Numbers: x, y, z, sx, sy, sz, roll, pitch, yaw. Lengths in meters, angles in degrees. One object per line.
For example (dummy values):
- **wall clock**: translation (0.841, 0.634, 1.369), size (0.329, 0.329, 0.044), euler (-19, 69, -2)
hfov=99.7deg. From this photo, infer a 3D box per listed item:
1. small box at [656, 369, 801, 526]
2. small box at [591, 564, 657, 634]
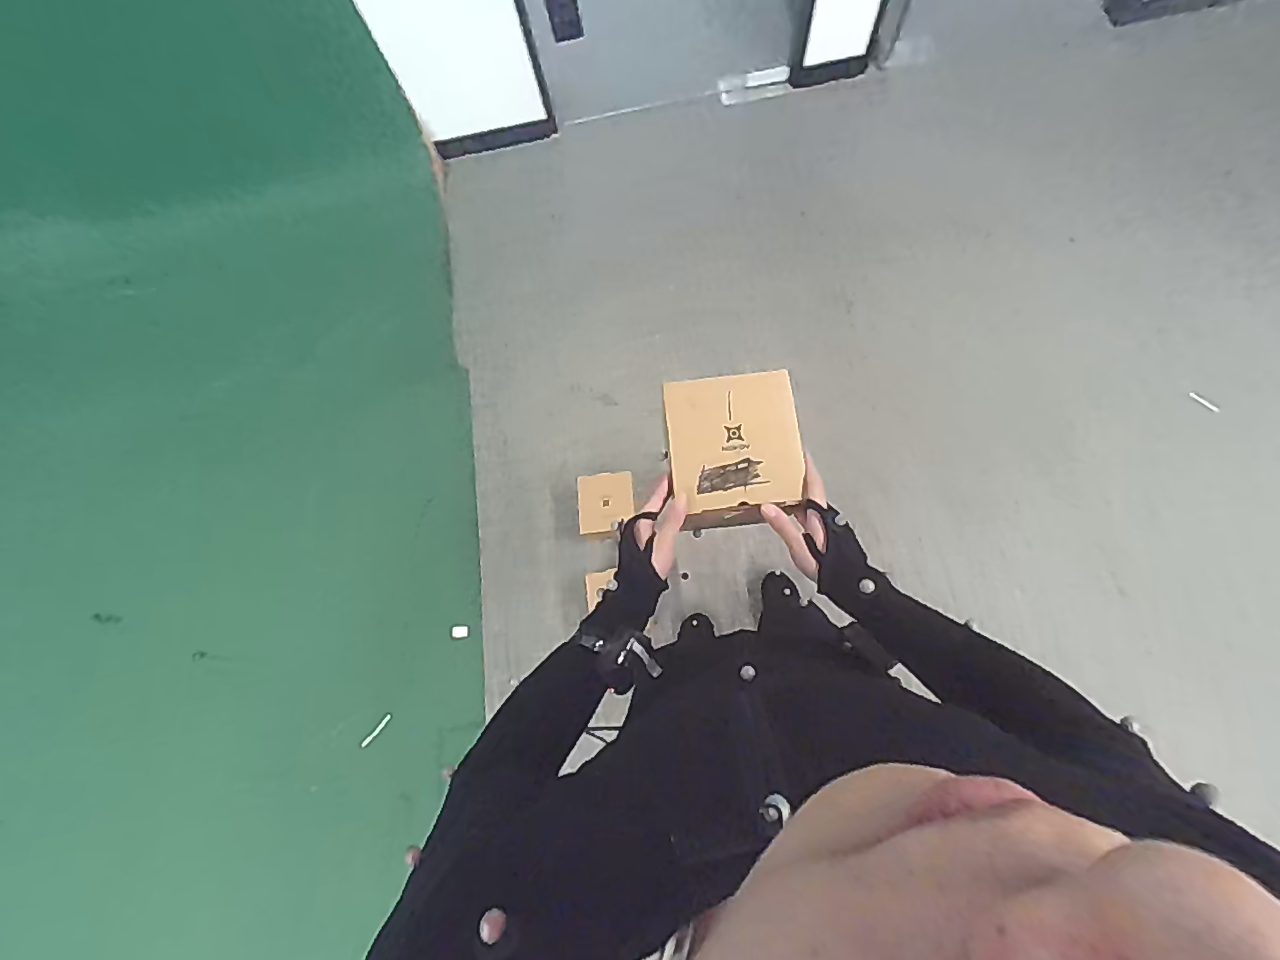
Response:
- **small box**: translation (0.114, -0.034, 0.756), size (0.168, 0.176, 0.179), euler (-6, 76, 2)
- **small box**: translation (-0.046, 0.352, 1.581), size (0.168, 0.176, 0.179), euler (-8, 74, 5)
